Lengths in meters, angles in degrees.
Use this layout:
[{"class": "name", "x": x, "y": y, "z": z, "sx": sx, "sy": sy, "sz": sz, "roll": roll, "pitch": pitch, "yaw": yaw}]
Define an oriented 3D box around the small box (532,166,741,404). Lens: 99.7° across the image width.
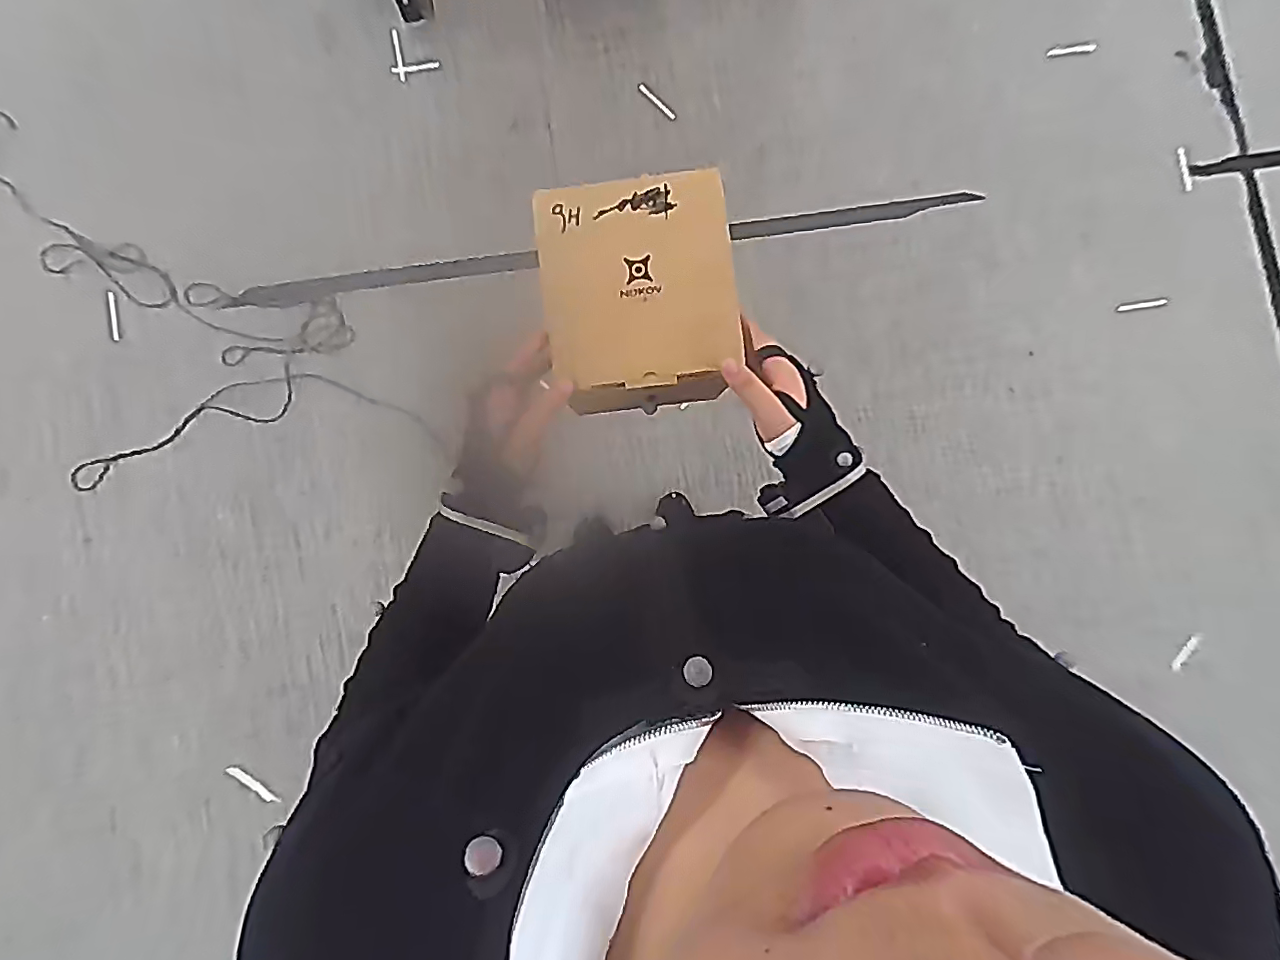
[{"class": "small box", "x": -0.001, "y": -0.174, "z": 0.542, "sx": 0.168, "sy": 0.176, "sz": 0.179, "roll": -8, "pitch": 91, "yaw": 1}]
